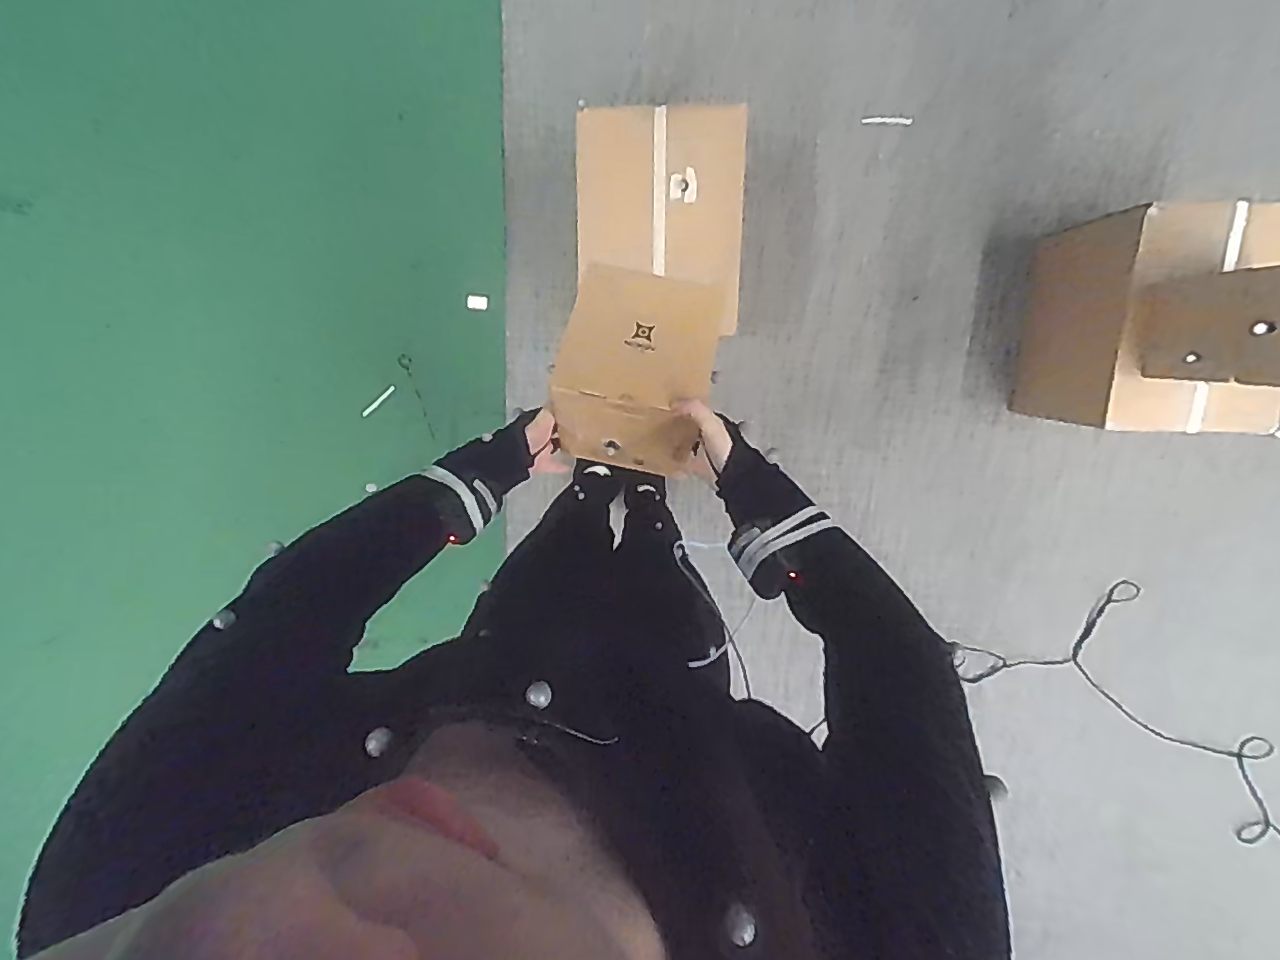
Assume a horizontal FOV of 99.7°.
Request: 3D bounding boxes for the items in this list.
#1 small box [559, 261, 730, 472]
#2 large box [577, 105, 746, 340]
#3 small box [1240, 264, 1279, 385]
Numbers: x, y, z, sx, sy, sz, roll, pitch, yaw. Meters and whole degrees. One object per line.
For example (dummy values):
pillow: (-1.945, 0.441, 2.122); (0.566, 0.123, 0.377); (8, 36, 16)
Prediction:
small box: (0.003, -0.133, 0.677); (0.168, 0.176, 0.179); (13, 68, 1)
large box: (0.051, -0.509, 1.163); (0.320, 0.320, 0.408); (2, 102, 4)
small box: (1.000, -0.221, 0.743); (0.168, 0.176, 0.179); (-6, 103, 7)
